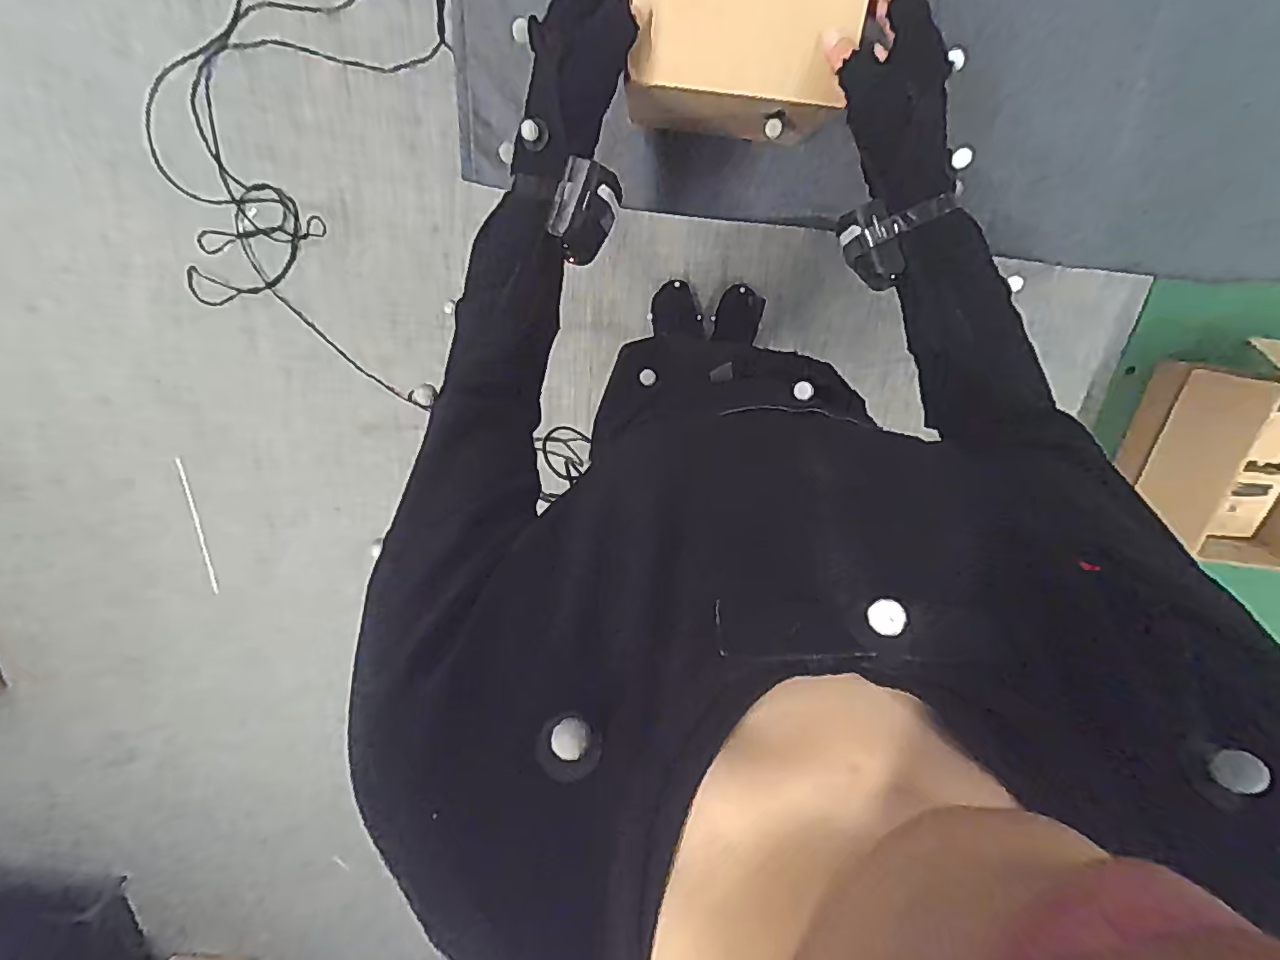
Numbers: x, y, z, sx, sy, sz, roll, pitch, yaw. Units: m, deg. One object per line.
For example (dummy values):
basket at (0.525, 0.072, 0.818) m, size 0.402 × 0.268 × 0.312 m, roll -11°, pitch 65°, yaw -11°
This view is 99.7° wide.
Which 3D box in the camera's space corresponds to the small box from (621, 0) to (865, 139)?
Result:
small box at (0.080, -0.402, 0.456) m, size 0.179 × 0.176 × 0.168 m, roll 5°, pitch 113°, yaw -1°
